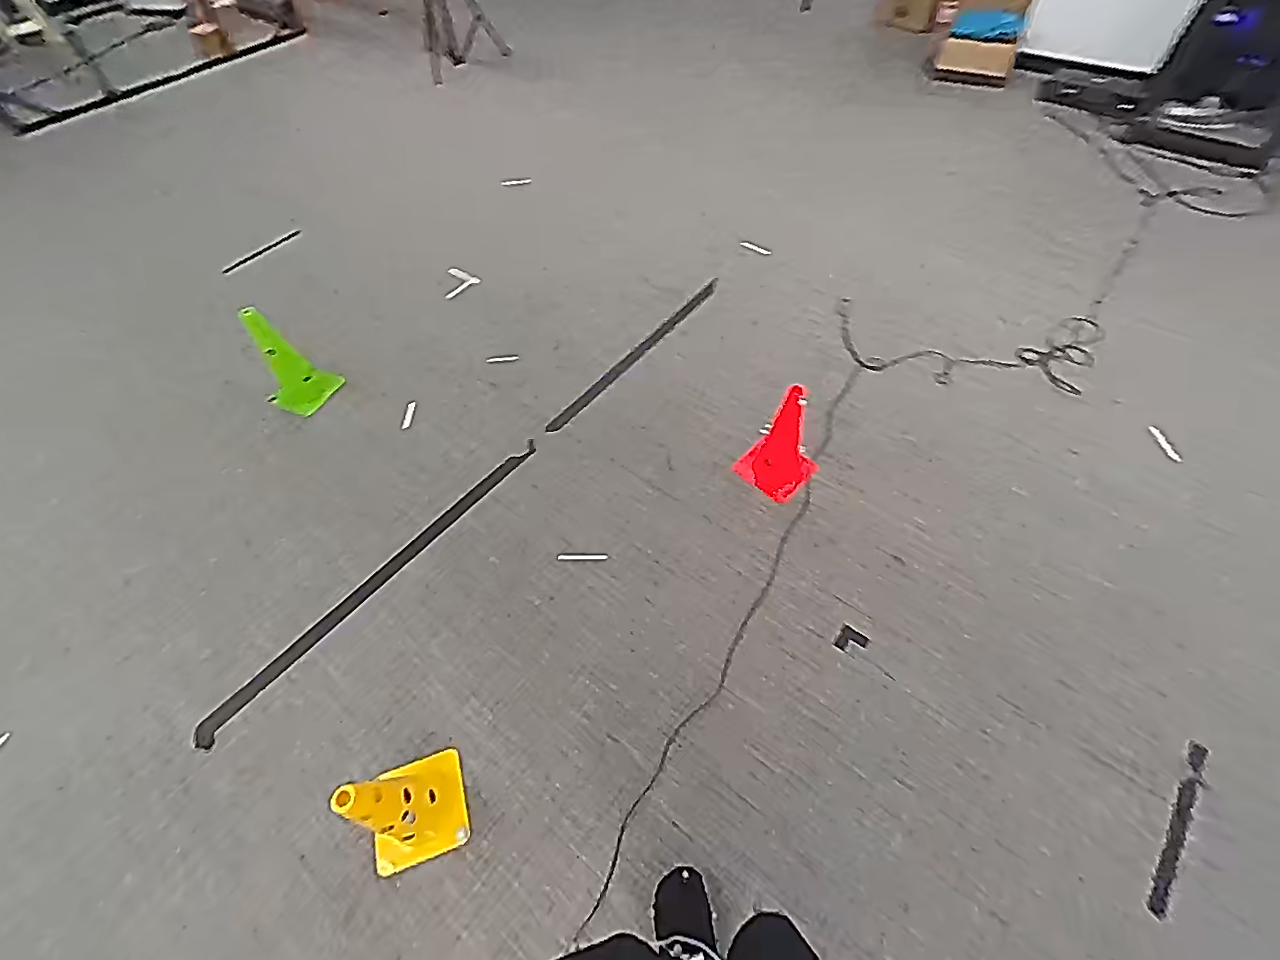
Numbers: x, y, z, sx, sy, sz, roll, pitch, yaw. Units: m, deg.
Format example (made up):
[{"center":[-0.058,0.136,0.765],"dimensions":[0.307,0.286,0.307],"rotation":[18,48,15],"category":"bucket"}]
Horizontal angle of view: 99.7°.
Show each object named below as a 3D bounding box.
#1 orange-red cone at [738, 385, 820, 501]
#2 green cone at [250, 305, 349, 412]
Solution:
[{"center":[0.426,-0.134,1.560],"dimensions":[0.199,0.360,0.198],"rotation":[-40,62,-20],"category":"orange-red cone"},{"center":[-1.209,-0.436,1.854],"dimensions":[0.200,0.368,0.202],"rotation":[19,57,14],"category":"green cone"}]
